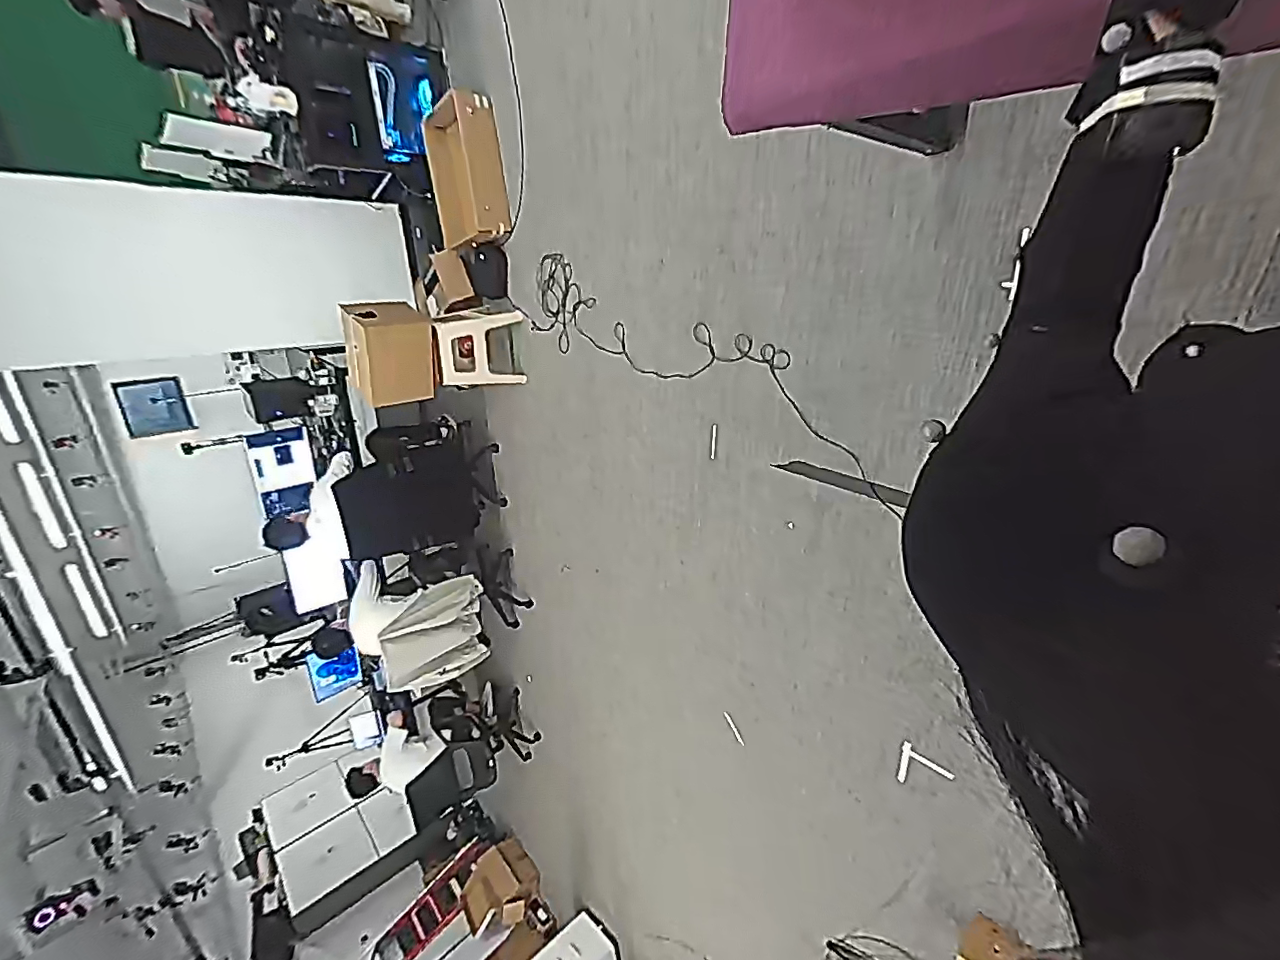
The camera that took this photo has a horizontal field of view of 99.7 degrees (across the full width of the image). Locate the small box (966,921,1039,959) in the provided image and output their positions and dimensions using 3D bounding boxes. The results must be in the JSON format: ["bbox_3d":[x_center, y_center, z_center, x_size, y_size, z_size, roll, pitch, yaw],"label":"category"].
[{"bbox_3d":[1.110,1.521,1.654,0.168,0.176,0.179,13,114,47],"label":"small box"}]
